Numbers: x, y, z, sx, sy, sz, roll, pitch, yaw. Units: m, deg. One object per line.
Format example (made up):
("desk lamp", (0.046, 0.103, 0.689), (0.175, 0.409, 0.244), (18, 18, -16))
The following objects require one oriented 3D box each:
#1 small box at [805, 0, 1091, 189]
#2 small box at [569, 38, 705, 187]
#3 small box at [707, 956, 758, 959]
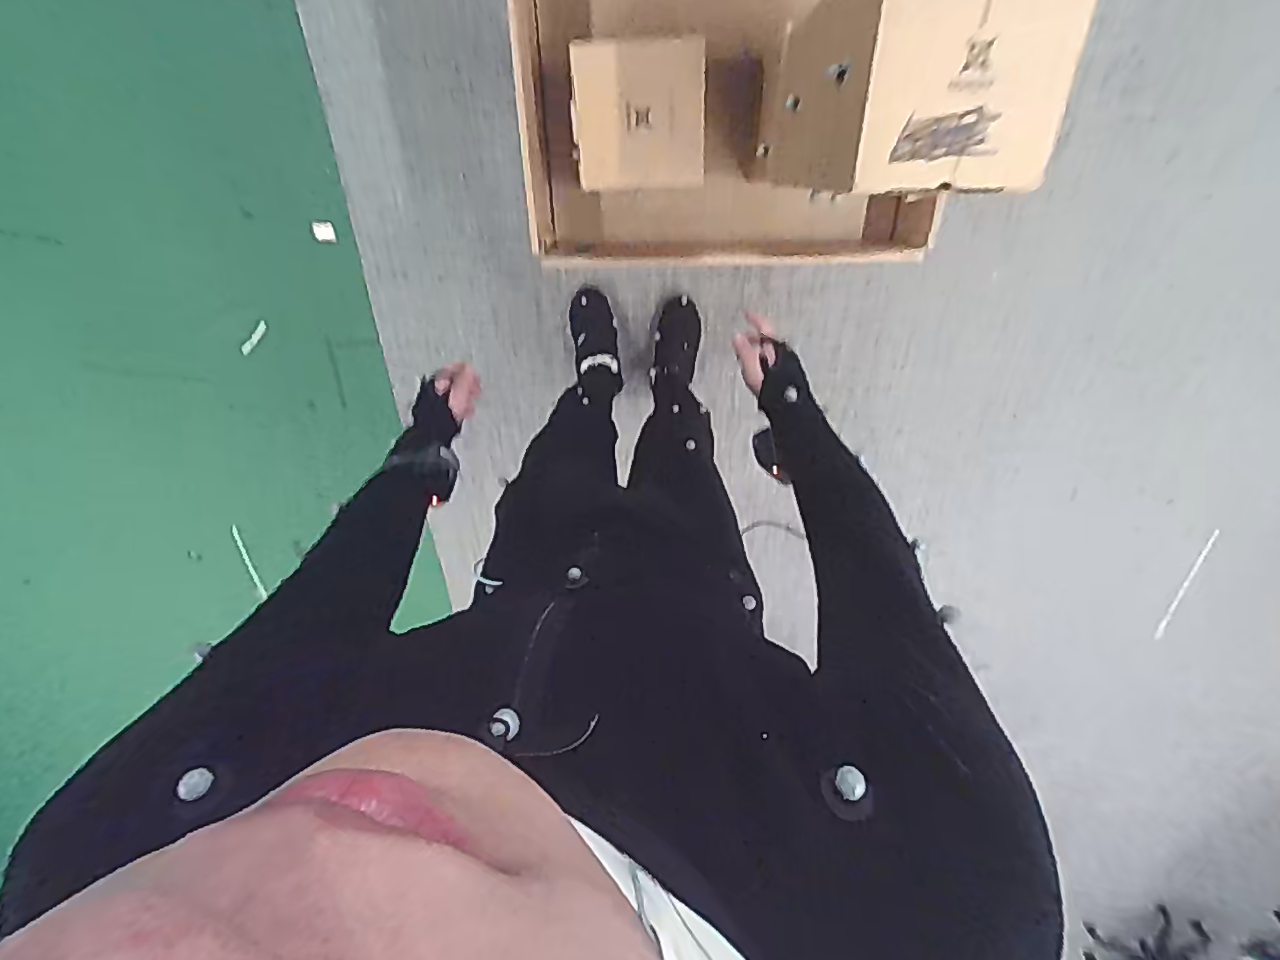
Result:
("small box", (0.261, -0.372, 0.500), (0.168, 0.176, 0.179), (-1, 118, 0))
("small box", (-0.003, -0.525, 0.792), (0.179, 0.176, 0.168), (-2, 119, 0))
("small box", (0.268, 1.525, 1.575), (0.179, 0.176, 0.168), (-5, 119, 4))
